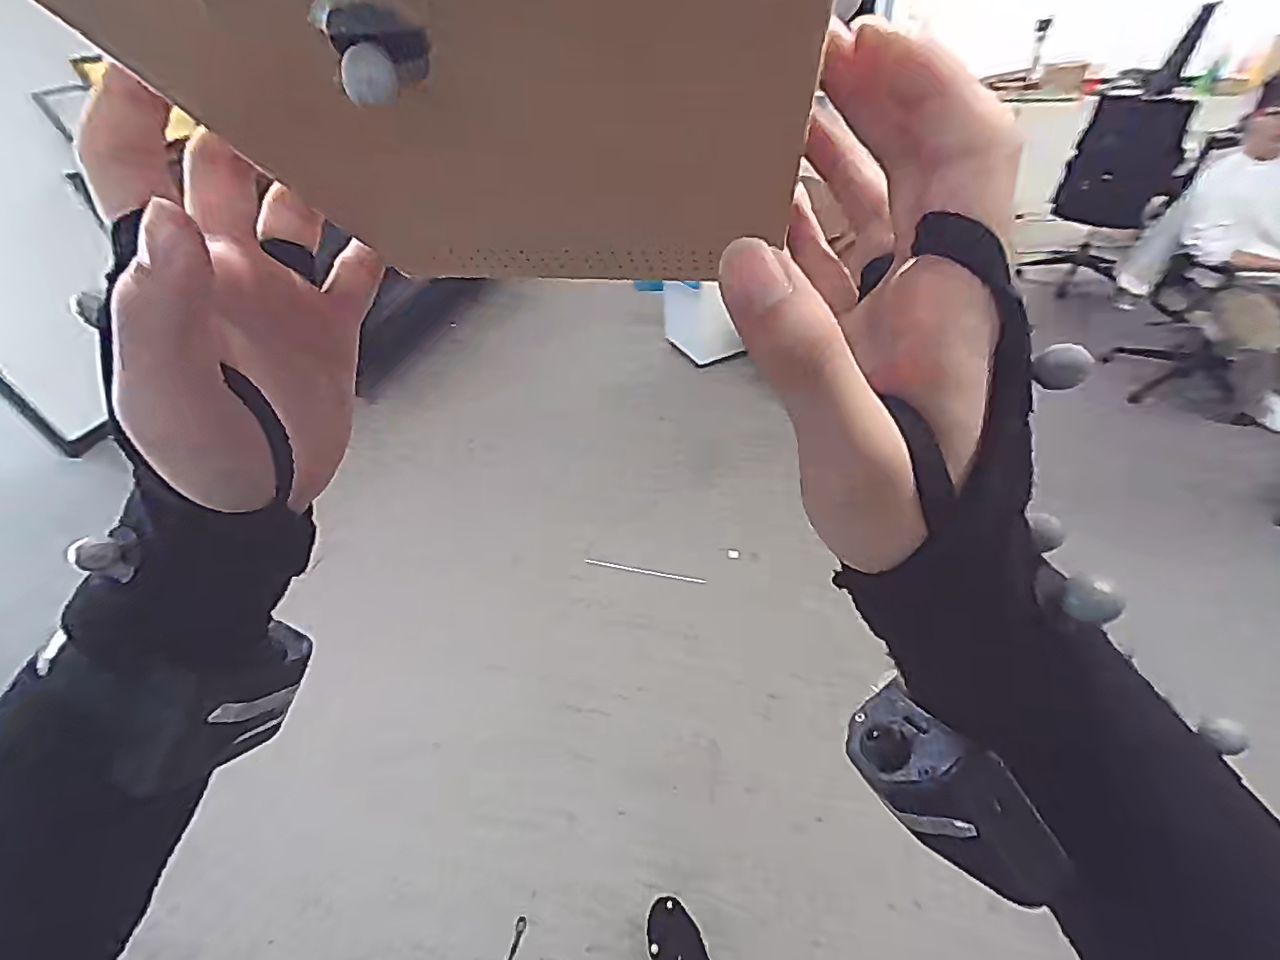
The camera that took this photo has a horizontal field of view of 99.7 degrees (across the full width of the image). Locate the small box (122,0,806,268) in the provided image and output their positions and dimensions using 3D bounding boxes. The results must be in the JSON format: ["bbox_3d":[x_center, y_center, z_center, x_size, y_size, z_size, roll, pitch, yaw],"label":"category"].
[{"bbox_3d":[-0.035,-0.181,0.169,0.179,0.176,0.168,5,87,9],"label":"small box"}]
